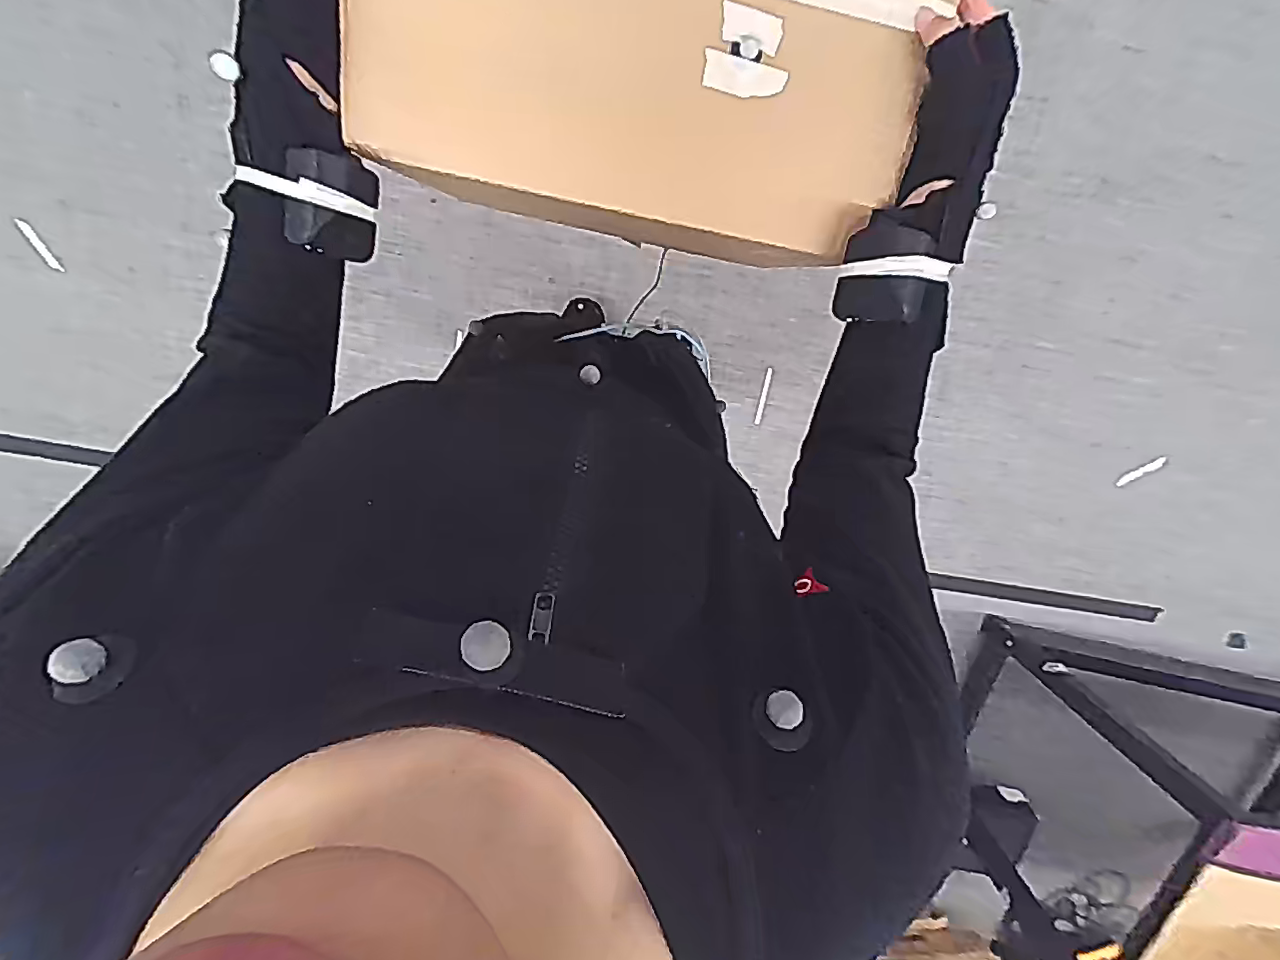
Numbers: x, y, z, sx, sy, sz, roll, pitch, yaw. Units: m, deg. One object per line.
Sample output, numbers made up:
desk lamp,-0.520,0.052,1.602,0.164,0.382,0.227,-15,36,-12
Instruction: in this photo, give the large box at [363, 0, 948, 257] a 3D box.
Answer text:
large box,0.009,-0.408,0.501,0.408,0.320,0.320,9,111,-7
